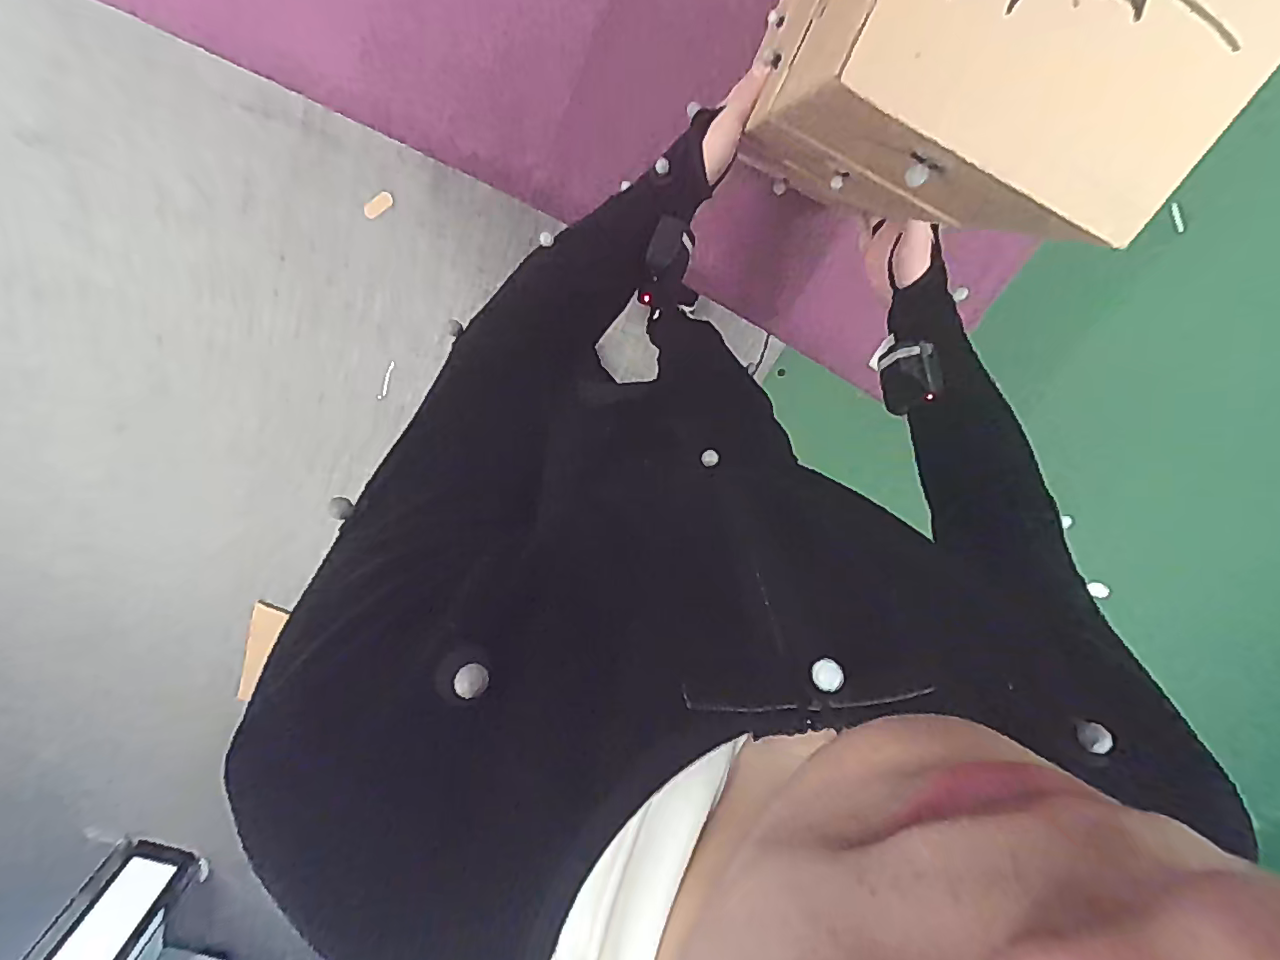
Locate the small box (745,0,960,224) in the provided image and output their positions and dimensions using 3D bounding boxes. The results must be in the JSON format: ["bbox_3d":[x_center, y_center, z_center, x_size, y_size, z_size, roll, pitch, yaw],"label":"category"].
[{"bbox_3d":[0.204,-0.331,0.438,0.179,0.176,0.168,23,118,-10],"label":"small box"}]

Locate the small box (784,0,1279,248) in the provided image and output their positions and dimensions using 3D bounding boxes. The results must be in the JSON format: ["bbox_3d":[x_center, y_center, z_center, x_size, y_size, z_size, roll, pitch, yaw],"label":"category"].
[{"bbox_3d":[0.202,-0.251,0.295,0.179,0.176,0.168,22,119,-10],"label":"small box"}]

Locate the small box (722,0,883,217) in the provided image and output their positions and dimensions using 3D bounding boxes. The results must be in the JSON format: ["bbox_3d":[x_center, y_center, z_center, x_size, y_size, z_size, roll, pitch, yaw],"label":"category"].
[{"bbox_3d":[0.207,-0.410,0.582,0.179,0.176,0.168,22,117,-10],"label":"small box"}]
